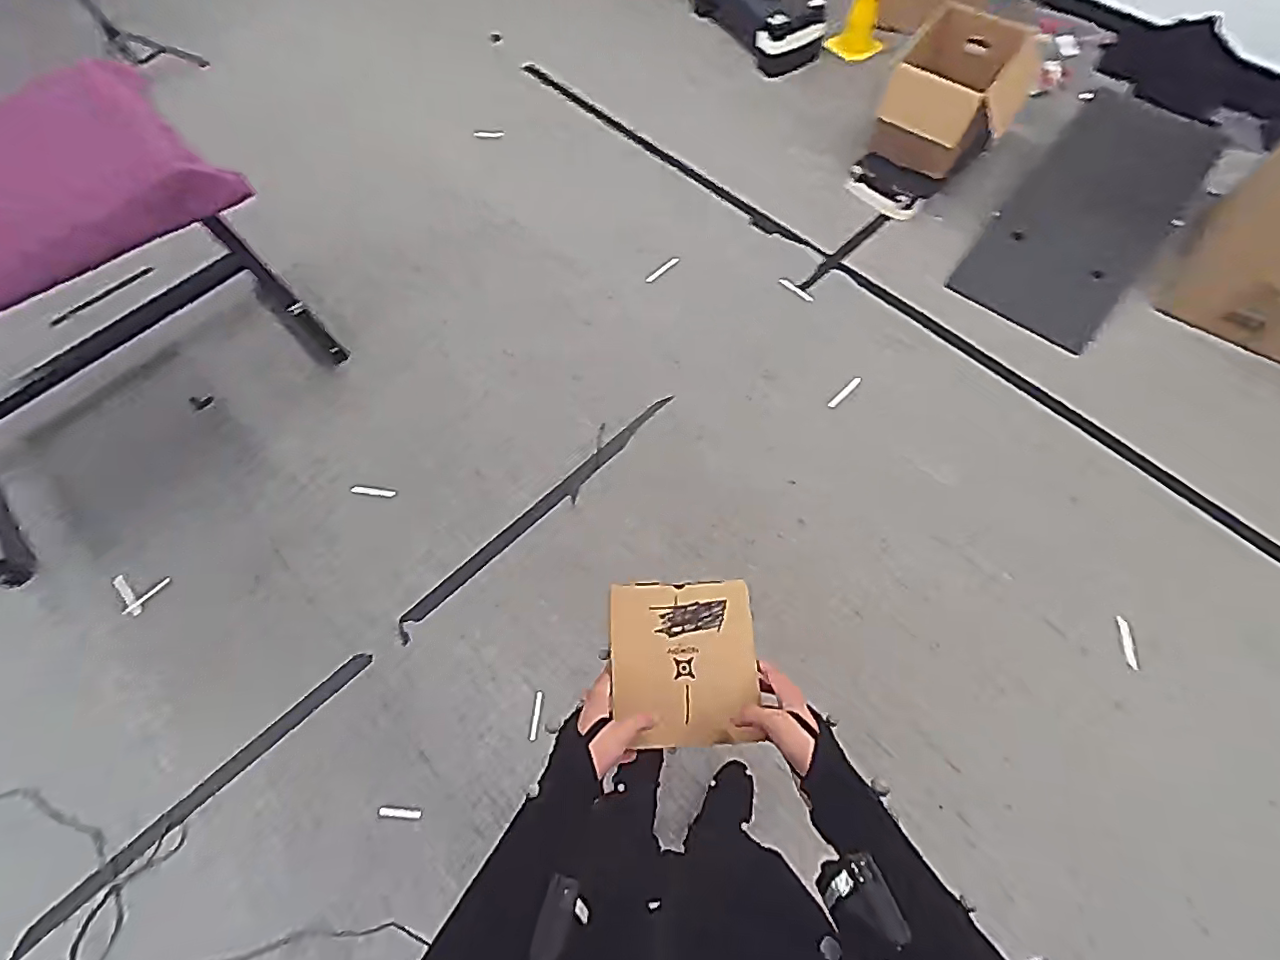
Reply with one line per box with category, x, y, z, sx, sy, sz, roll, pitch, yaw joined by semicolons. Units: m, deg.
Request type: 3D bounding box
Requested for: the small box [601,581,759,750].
small box;0.036;0.232;0.679;0.168;0.176;0.179;-1;69;-6
